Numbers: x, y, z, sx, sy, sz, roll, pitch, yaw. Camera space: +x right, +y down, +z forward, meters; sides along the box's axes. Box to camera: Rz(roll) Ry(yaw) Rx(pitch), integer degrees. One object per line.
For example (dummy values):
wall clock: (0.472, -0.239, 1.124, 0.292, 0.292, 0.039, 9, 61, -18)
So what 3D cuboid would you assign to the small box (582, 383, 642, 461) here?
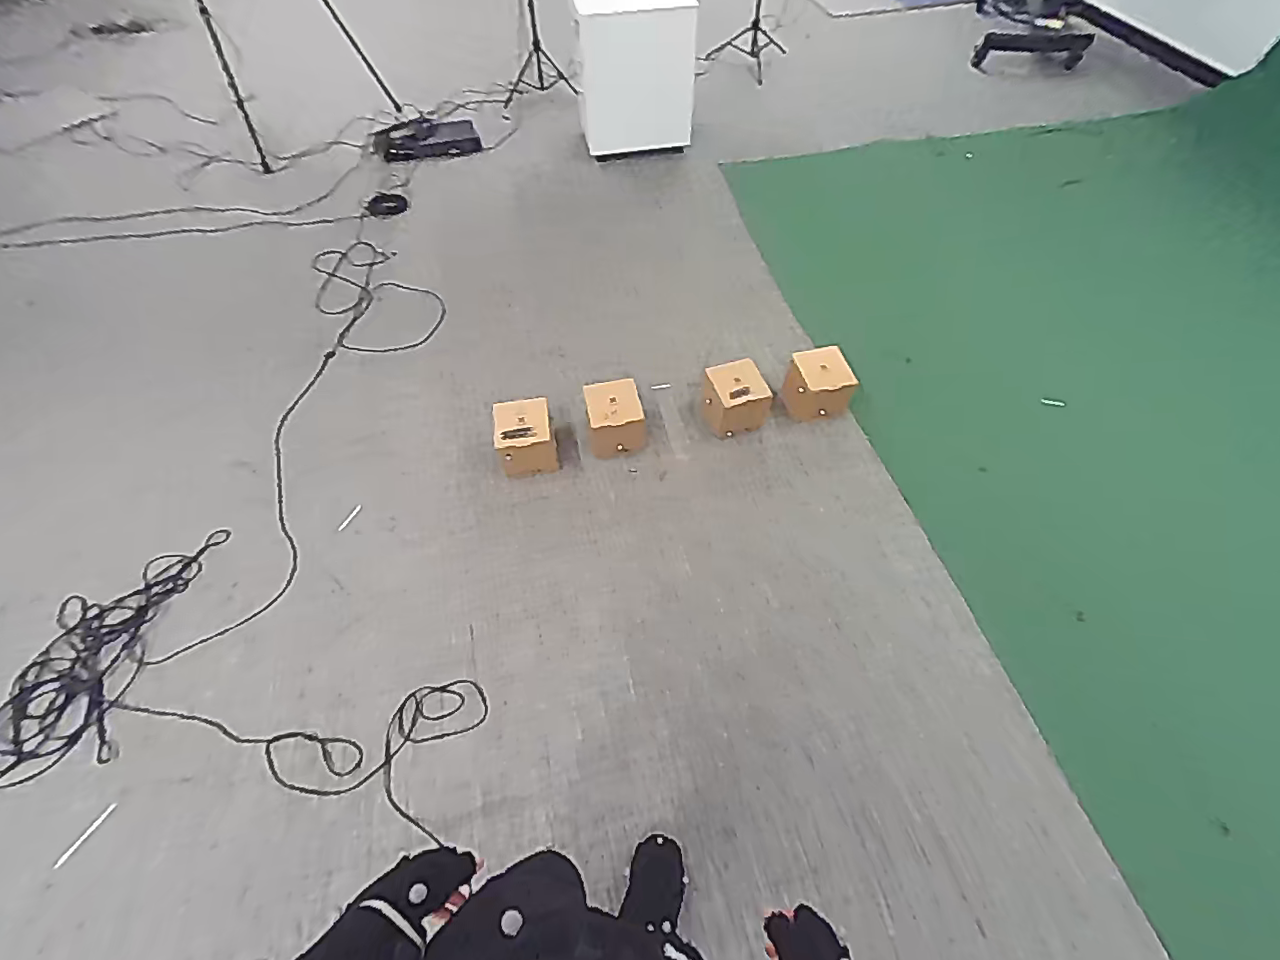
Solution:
small box: (-0.090, -0.186, 1.750, 0.168, 0.176, 0.179, -11, 58, -6)

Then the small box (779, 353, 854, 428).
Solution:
small box: (0.590, -0.302, 1.838, 0.168, 0.176, 0.179, -12, 58, -7)

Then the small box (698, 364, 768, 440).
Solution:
small box: (0.304, -0.253, 1.801, 0.168, 0.176, 0.179, -14, 57, -10)
